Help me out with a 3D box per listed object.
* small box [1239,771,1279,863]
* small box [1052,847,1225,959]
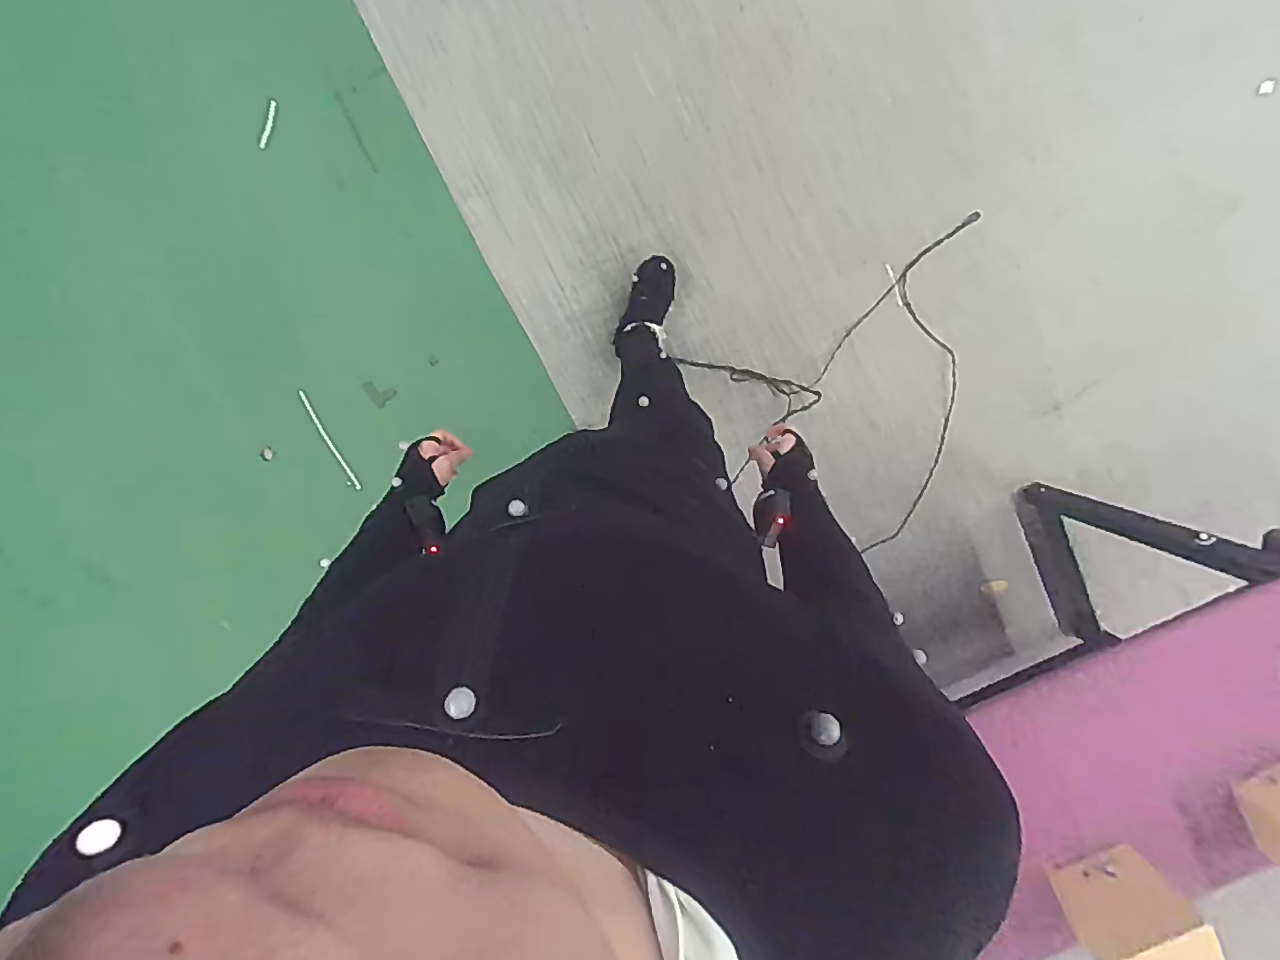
[{"bbox_3d":[1.260,0.644,0.976,0.168,0.176,0.179,-30,102,5],"label":"small box"},{"bbox_3d":[0.928,0.843,1.009,0.168,0.176,0.179,-27,101,3],"label":"small box"}]
